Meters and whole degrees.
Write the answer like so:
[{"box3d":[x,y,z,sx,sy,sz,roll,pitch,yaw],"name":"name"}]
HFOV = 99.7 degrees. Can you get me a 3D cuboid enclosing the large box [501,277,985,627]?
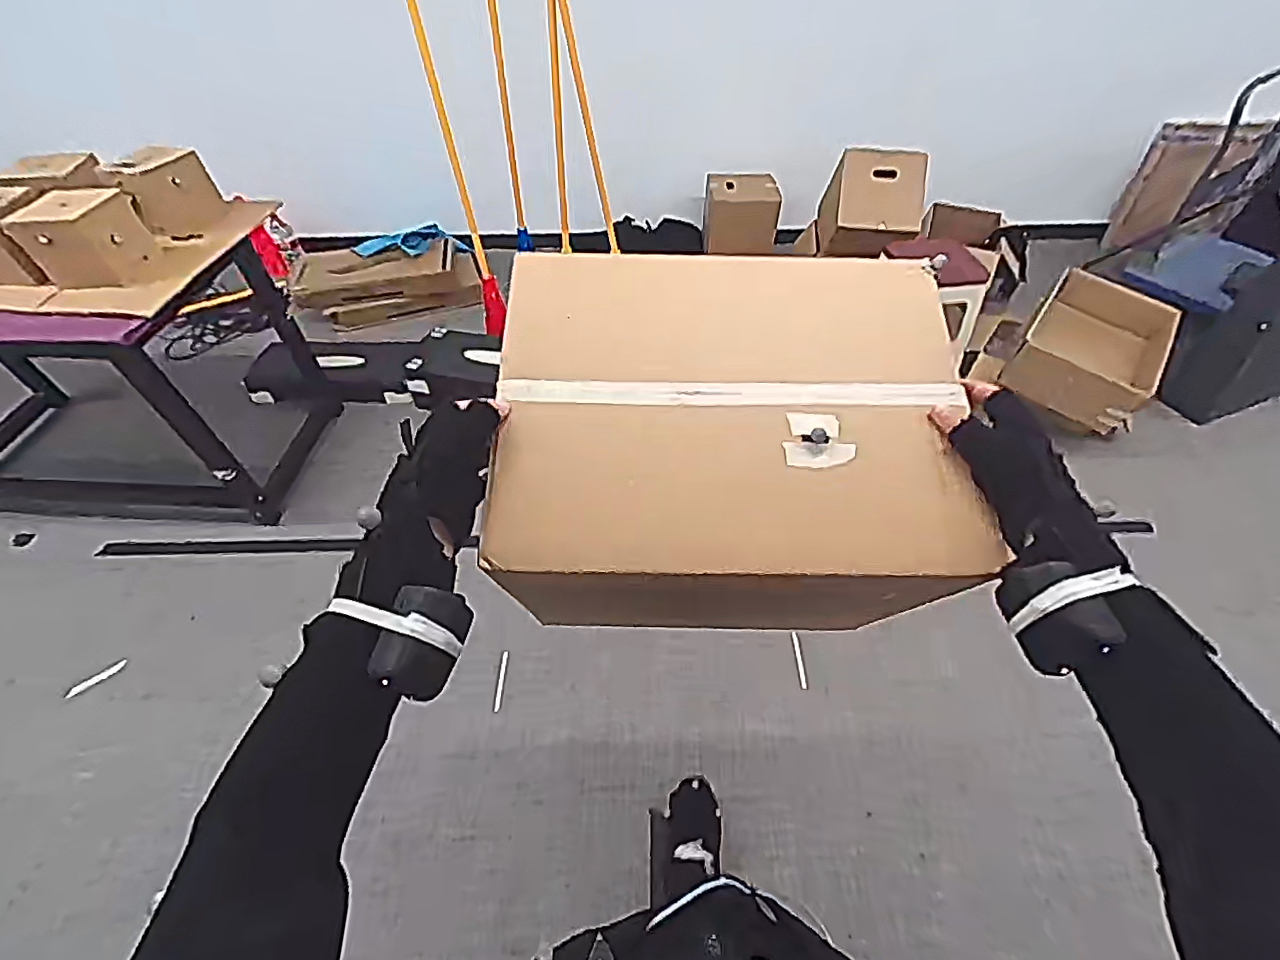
[{"box3d":[0.080,-0.008,0.628,0.408,0.320,0.320,0,69,-1],"name":"large box"}]
